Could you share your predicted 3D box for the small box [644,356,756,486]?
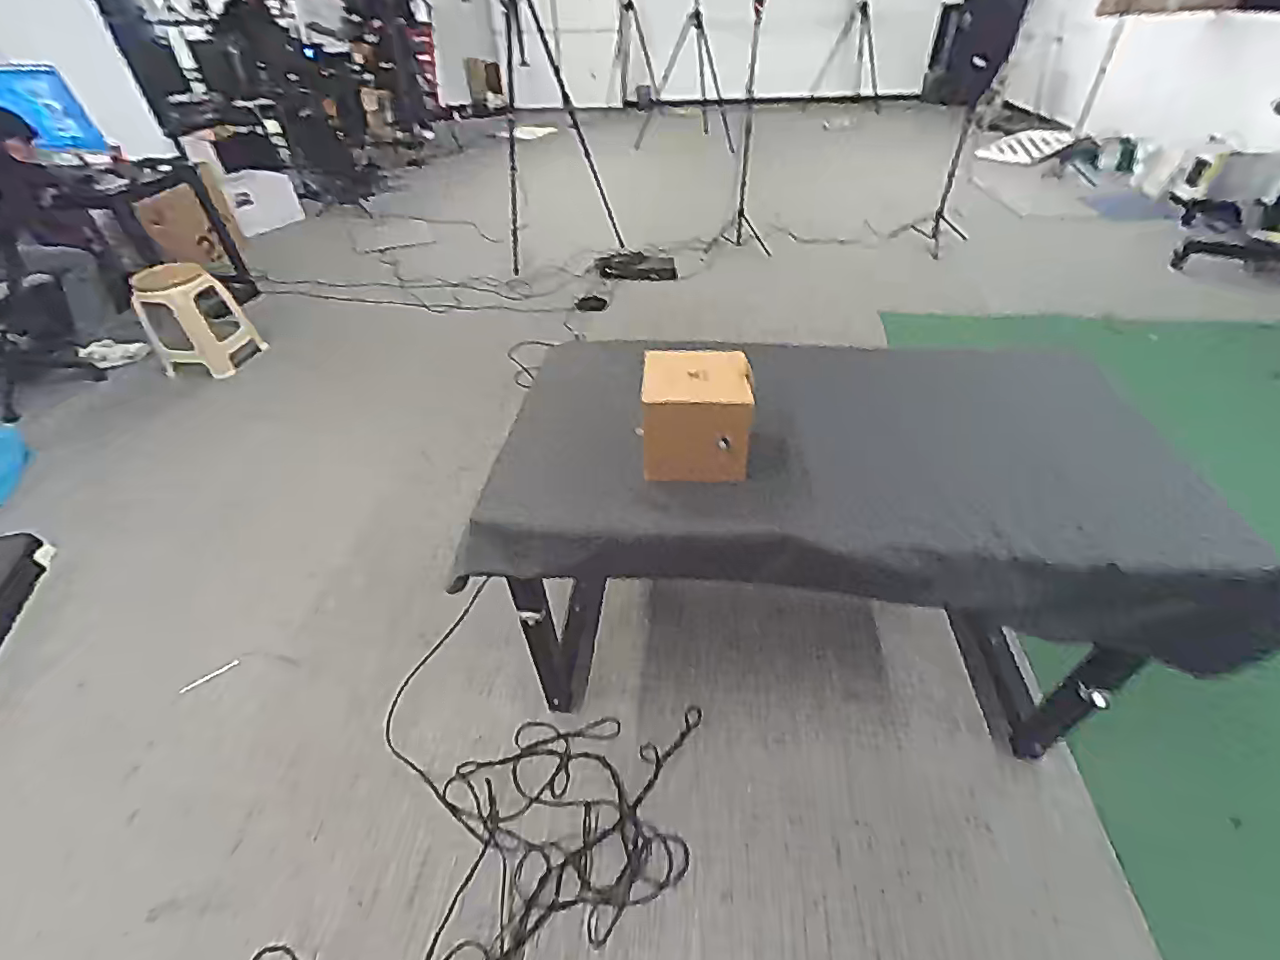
[{"bbox_3d":[0.100,-0.102,0.949,0.179,0.176,0.168,0,40,4],"label":"small box"}]
